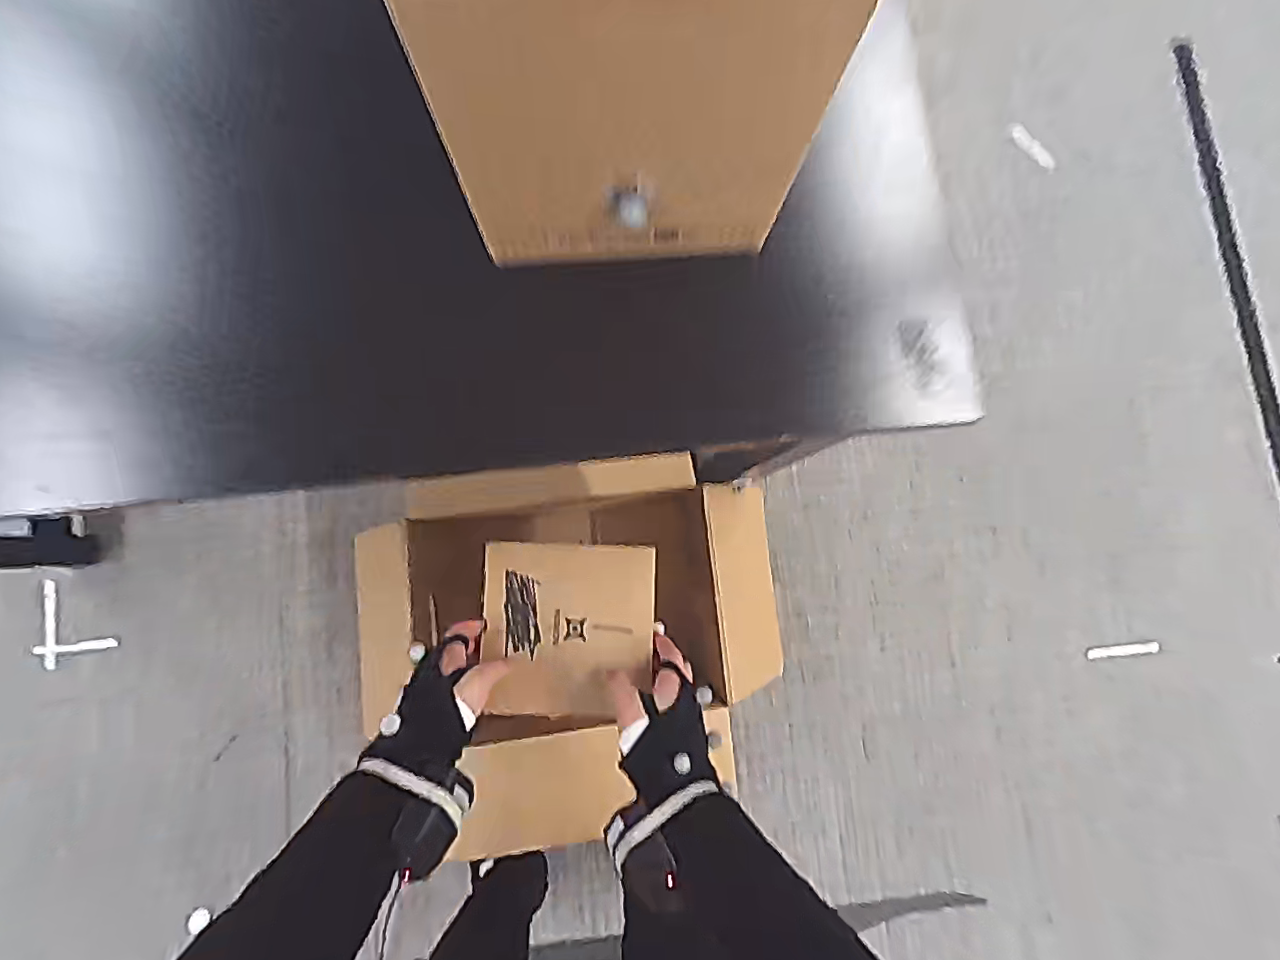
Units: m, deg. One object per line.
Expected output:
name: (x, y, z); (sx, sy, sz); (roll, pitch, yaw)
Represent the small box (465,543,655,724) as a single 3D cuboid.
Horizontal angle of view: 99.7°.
small box: (-0.076, 0.164, 0.602); (0.179, 0.176, 0.168); (2, 78, -1)
